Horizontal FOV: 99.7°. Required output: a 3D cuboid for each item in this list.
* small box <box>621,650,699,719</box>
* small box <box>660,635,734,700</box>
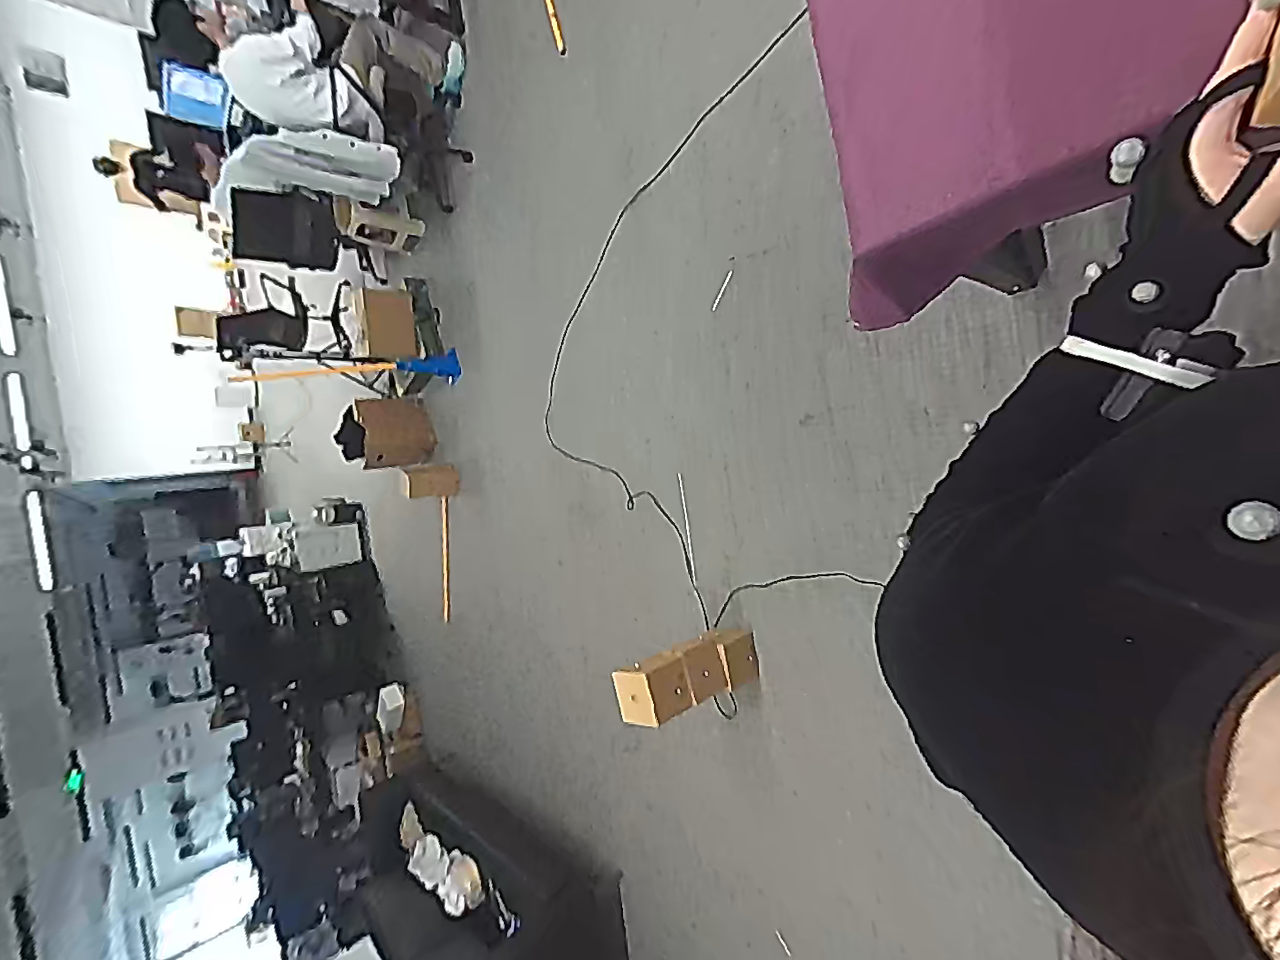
[{"bbox_3d":[0.068,0.669,1.789,0.179,0.176,0.168,-20,81,48],"label":"small box"},{"bbox_3d":[0.199,0.647,1.884,0.168,0.176,0.179,-25,78,48],"label":"small box"}]
